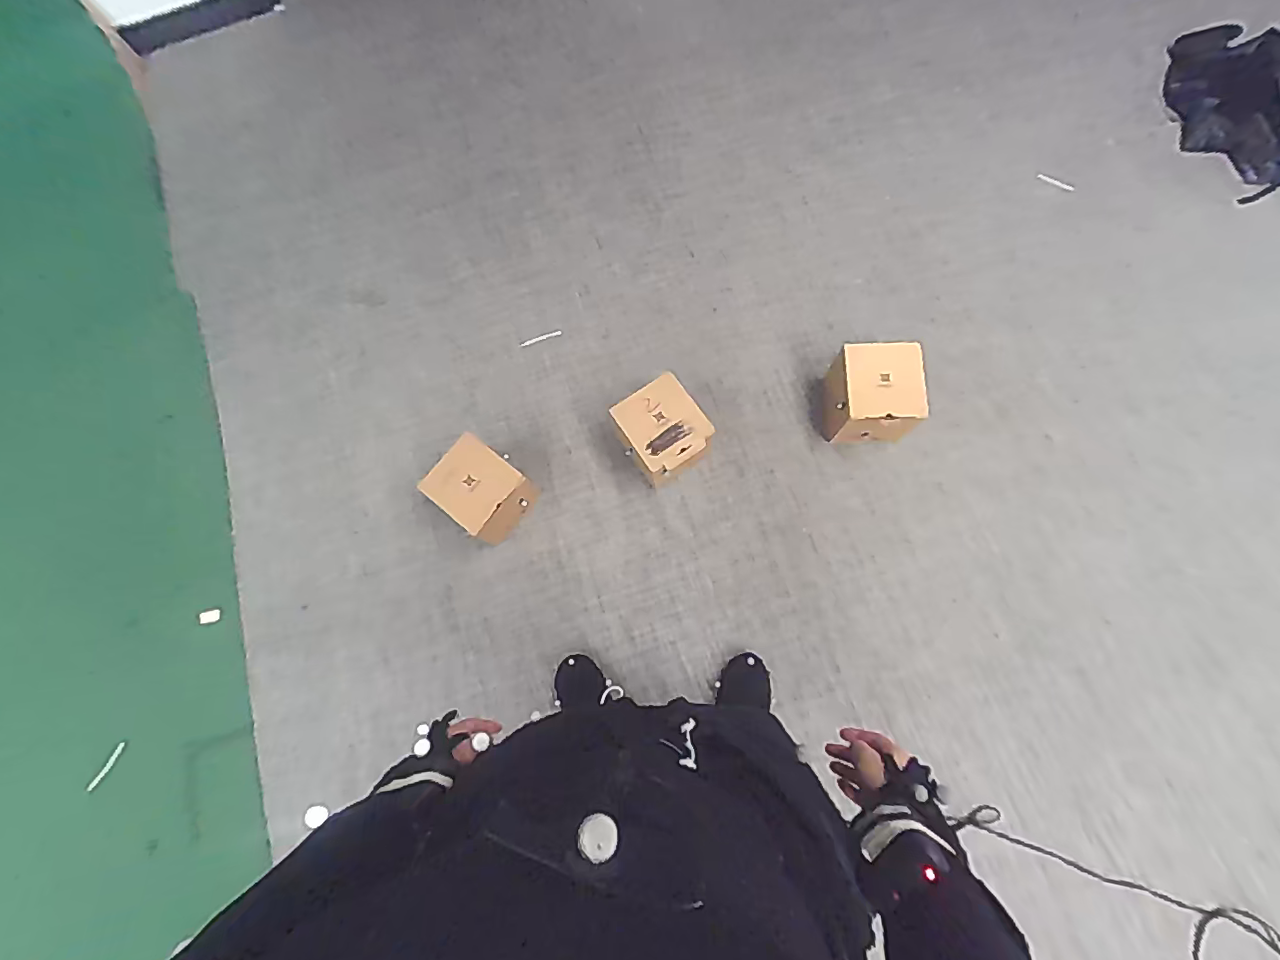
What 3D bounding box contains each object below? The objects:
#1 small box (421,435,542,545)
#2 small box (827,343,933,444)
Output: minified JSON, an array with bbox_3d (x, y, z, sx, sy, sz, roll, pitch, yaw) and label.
[{"bbox_3d":[-0.349,0.032,1.229,0.179,0.176,0.168,37,80,13],"label":"small box"},{"bbox_3d":[0.533,-0.191,1.224,0.168,0.176,0.179,-1,76,3],"label":"small box"}]
